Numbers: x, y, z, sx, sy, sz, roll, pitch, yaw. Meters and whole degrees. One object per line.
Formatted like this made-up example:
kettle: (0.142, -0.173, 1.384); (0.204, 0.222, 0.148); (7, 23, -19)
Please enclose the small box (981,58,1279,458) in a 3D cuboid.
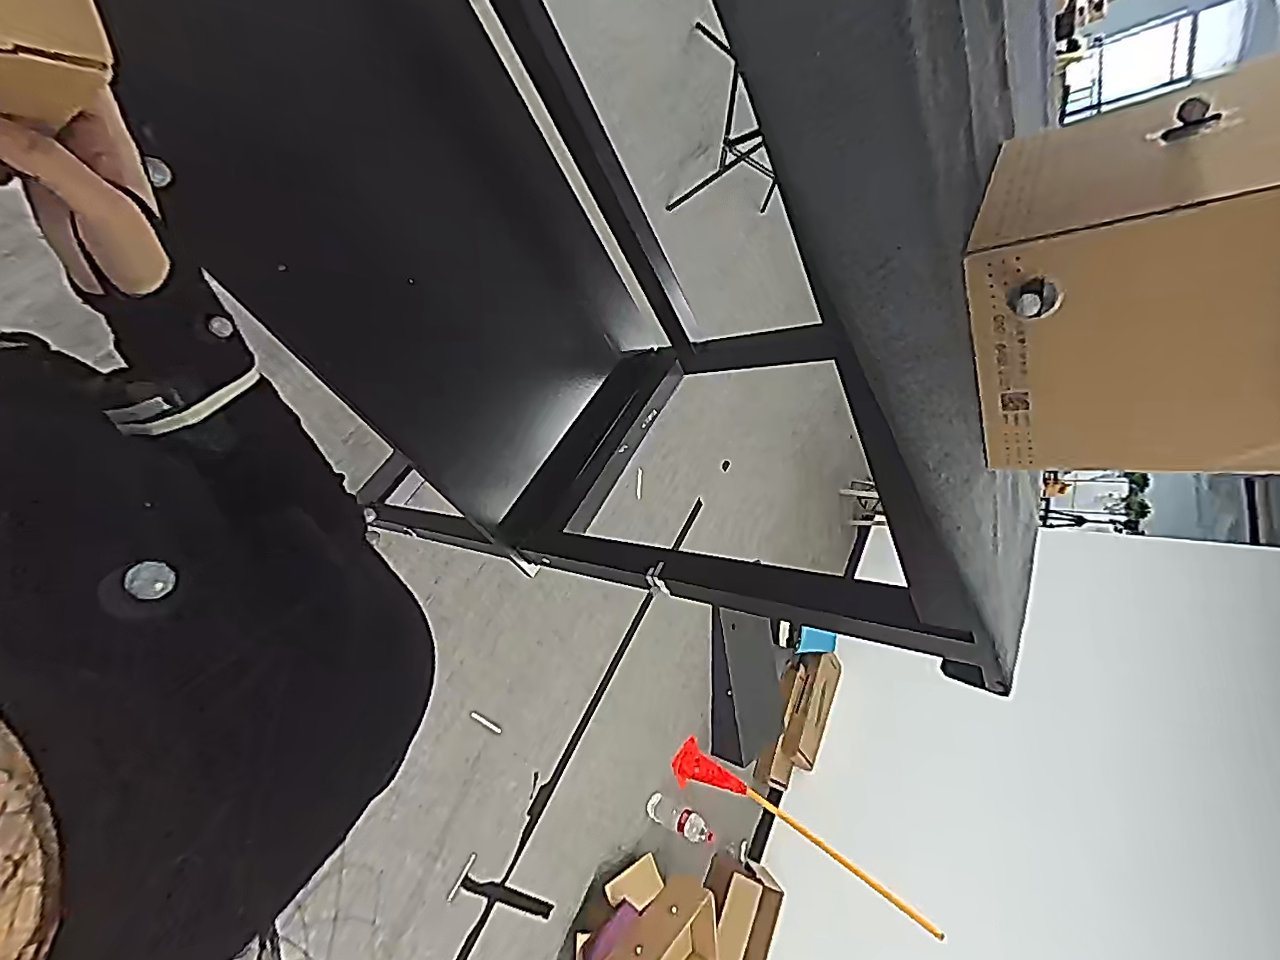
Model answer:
small box: (0.322, -0.125, 0.338); (0.179, 0.176, 0.168); (-56, 131, -33)
